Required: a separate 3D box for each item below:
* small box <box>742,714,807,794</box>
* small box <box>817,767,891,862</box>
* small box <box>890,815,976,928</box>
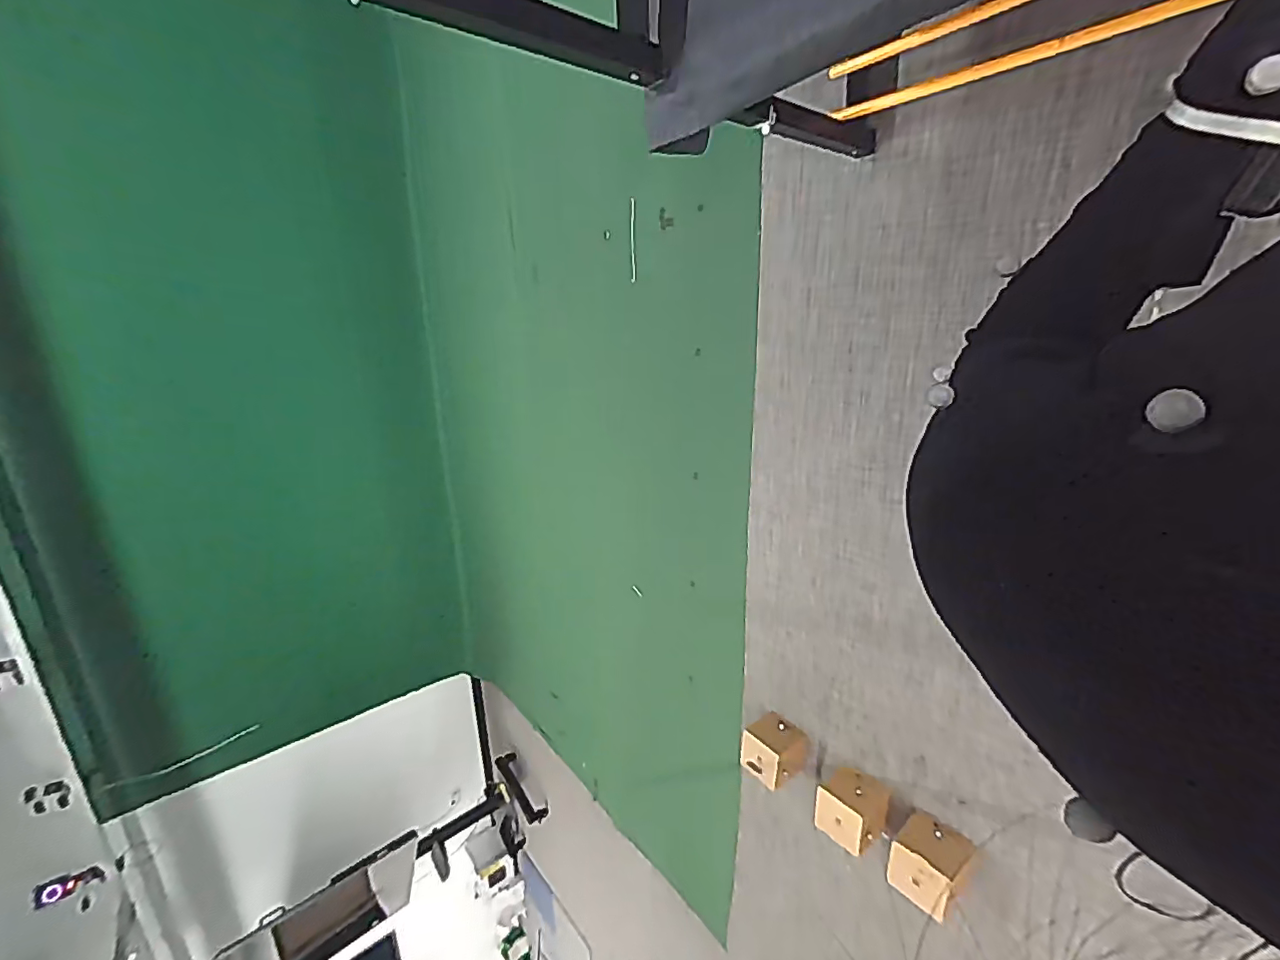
[{"bbox_3d":[0.512,1.033,2.048,0.168,0.176,0.179,23,117,47],"label":"small box"},{"bbox_3d":[0.717,1.107,1.807,0.168,0.176,0.179,18,116,49],"label":"small box"},{"bbox_3d":[0.875,1.158,1.612,0.168,0.176,0.179,19,115,48],"label":"small box"}]
